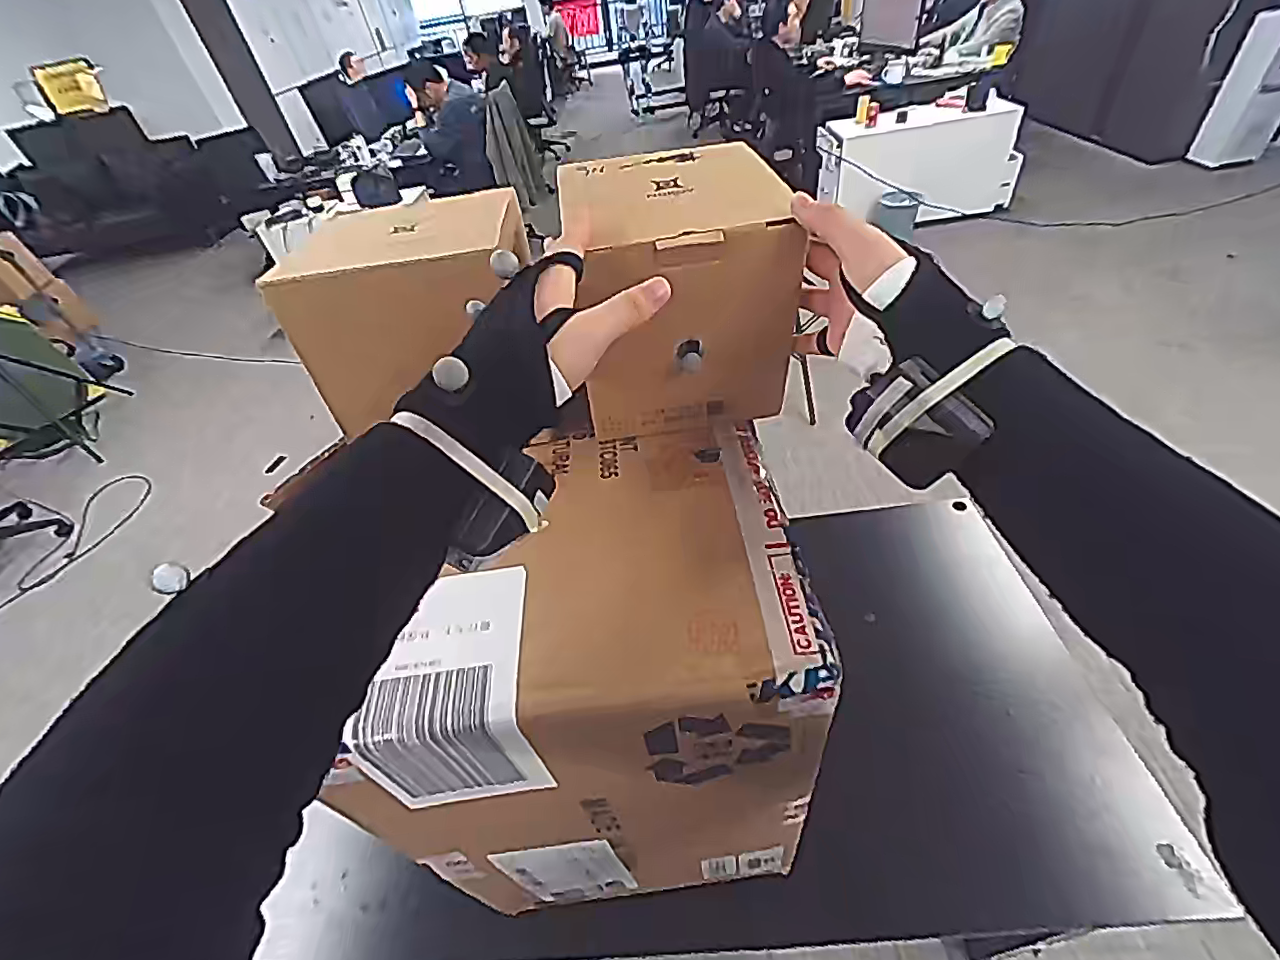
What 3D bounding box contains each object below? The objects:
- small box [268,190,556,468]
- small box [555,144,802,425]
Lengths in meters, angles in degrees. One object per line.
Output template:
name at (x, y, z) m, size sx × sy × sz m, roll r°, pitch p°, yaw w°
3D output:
small box at (-0.175, -0.136, 0.482) m, size 0.168 × 0.176 × 0.179 m, roll -11°, pitch 42°, yaw -1°
small box at (0.023, -0.161, 0.465) m, size 0.168 × 0.176 × 0.179 m, roll -7°, pitch 47°, yaw -3°
